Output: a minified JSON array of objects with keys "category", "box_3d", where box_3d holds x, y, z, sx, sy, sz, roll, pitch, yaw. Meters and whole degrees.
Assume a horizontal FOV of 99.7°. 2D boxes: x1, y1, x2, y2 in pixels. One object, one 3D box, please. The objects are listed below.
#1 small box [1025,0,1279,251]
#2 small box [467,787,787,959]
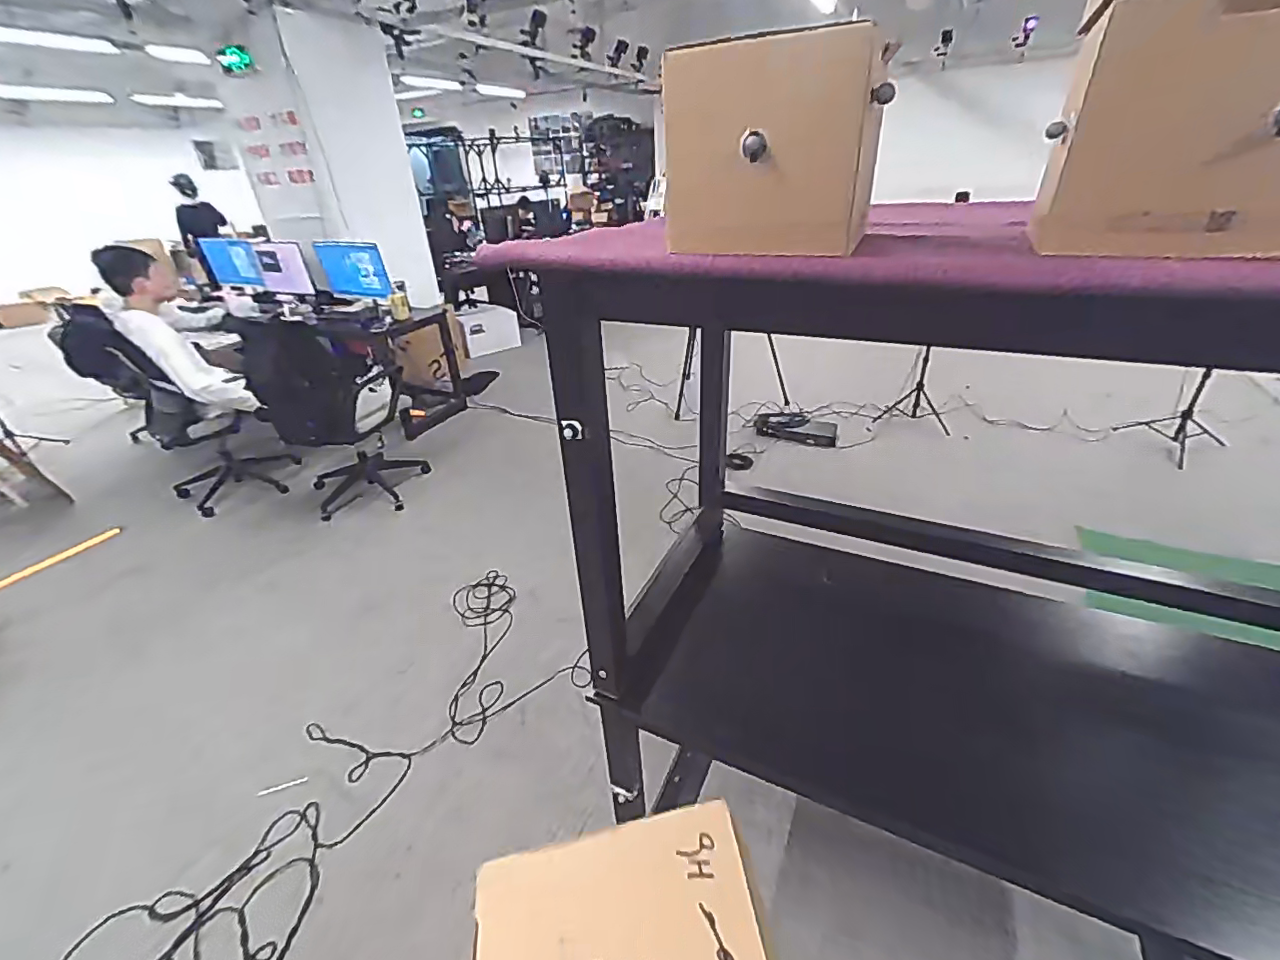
[{"category":"small box","box_3d":[0.432,-0.283,0.430,0.168,0.176,0.179,13,33,25]},{"category":"small box","box_3d":[0.006,0.329,0.344,0.179,0.176,0.168,-16,42,3]}]
